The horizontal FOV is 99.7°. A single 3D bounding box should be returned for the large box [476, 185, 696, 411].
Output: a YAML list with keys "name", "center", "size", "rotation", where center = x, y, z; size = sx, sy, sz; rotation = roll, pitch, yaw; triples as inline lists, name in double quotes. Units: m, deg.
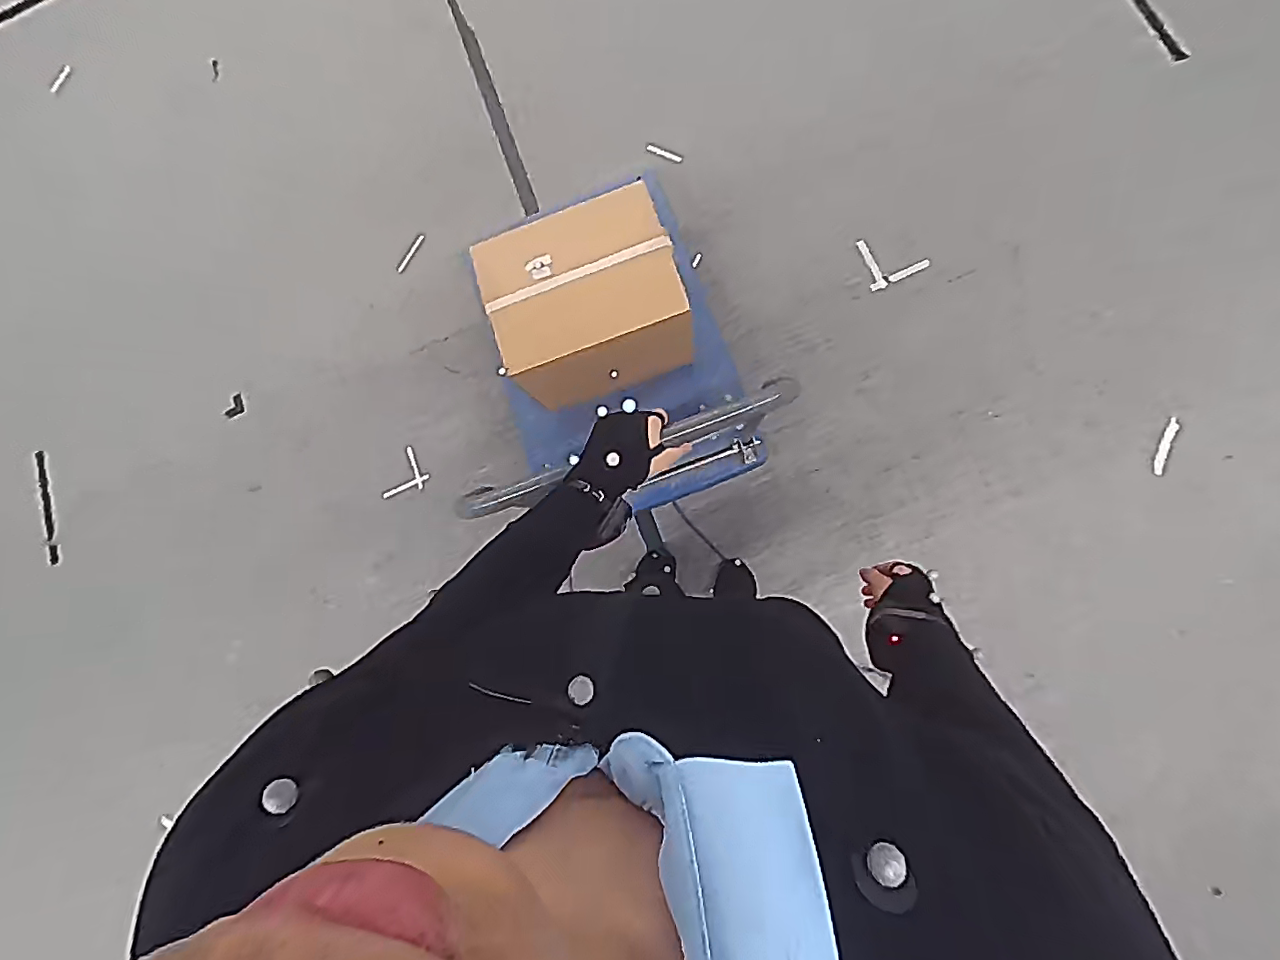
- name: "large box"
  center: [-0.108, -0.403, 1.288]
  size: [0.408, 0.320, 0.320]
  rotation: [-19, 79, 6]
